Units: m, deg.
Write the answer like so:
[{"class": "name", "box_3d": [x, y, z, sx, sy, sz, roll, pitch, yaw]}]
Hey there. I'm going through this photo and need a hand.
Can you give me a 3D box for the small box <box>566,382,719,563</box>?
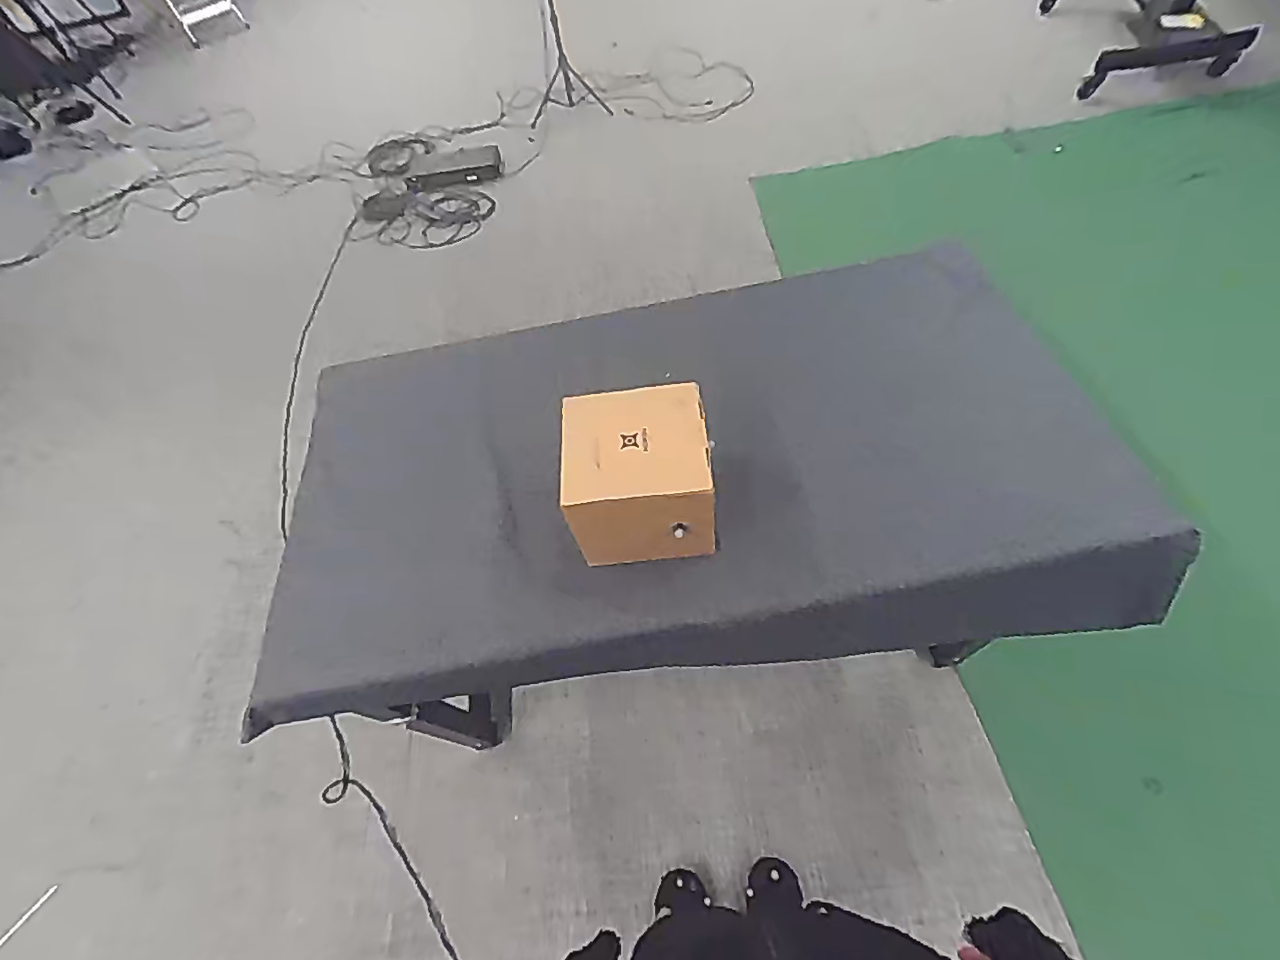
[{"class": "small box", "box_3d": [0.008, -0.004, 0.718, 0.179, 0.176, 0.168, -7, 56, 5]}]
